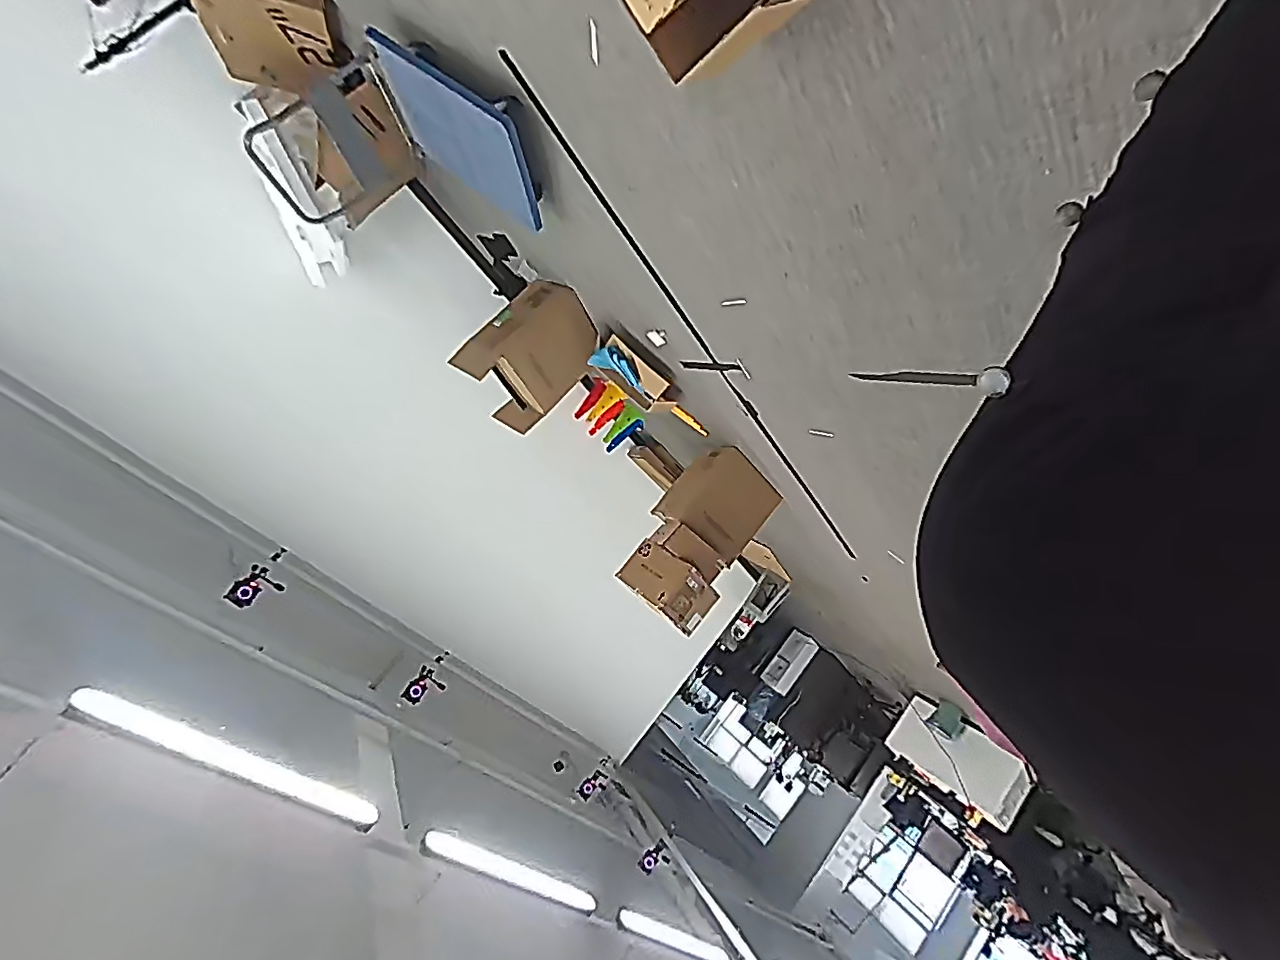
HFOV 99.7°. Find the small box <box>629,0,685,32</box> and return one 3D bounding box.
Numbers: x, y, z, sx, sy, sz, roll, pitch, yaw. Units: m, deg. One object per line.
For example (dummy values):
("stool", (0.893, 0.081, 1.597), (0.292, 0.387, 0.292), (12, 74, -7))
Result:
("small box", (0.056, -1.036, 1.035), (0.179, 0.176, 0.168), (45, 168, -27))
